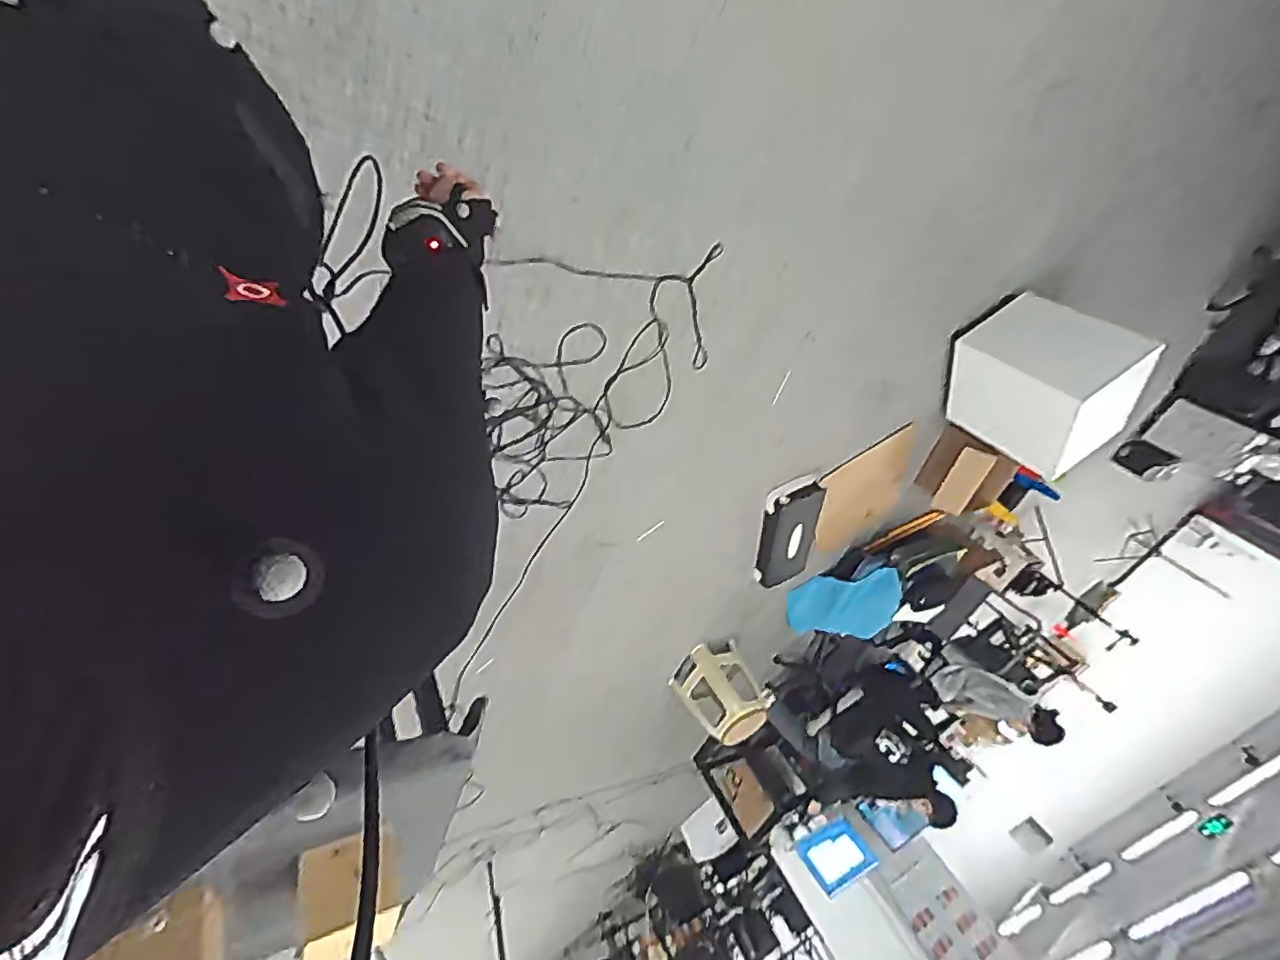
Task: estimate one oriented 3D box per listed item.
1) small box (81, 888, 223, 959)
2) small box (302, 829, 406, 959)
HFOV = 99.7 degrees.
[{"bbox_3d":[-0.836,0.855,0.933,0.168,0.176,0.179,-8,130,-32],"label":"small box"},{"bbox_3d":[-0.593,0.855,1.109,0.168,0.176,0.179,-2,128,-35],"label":"small box"}]
